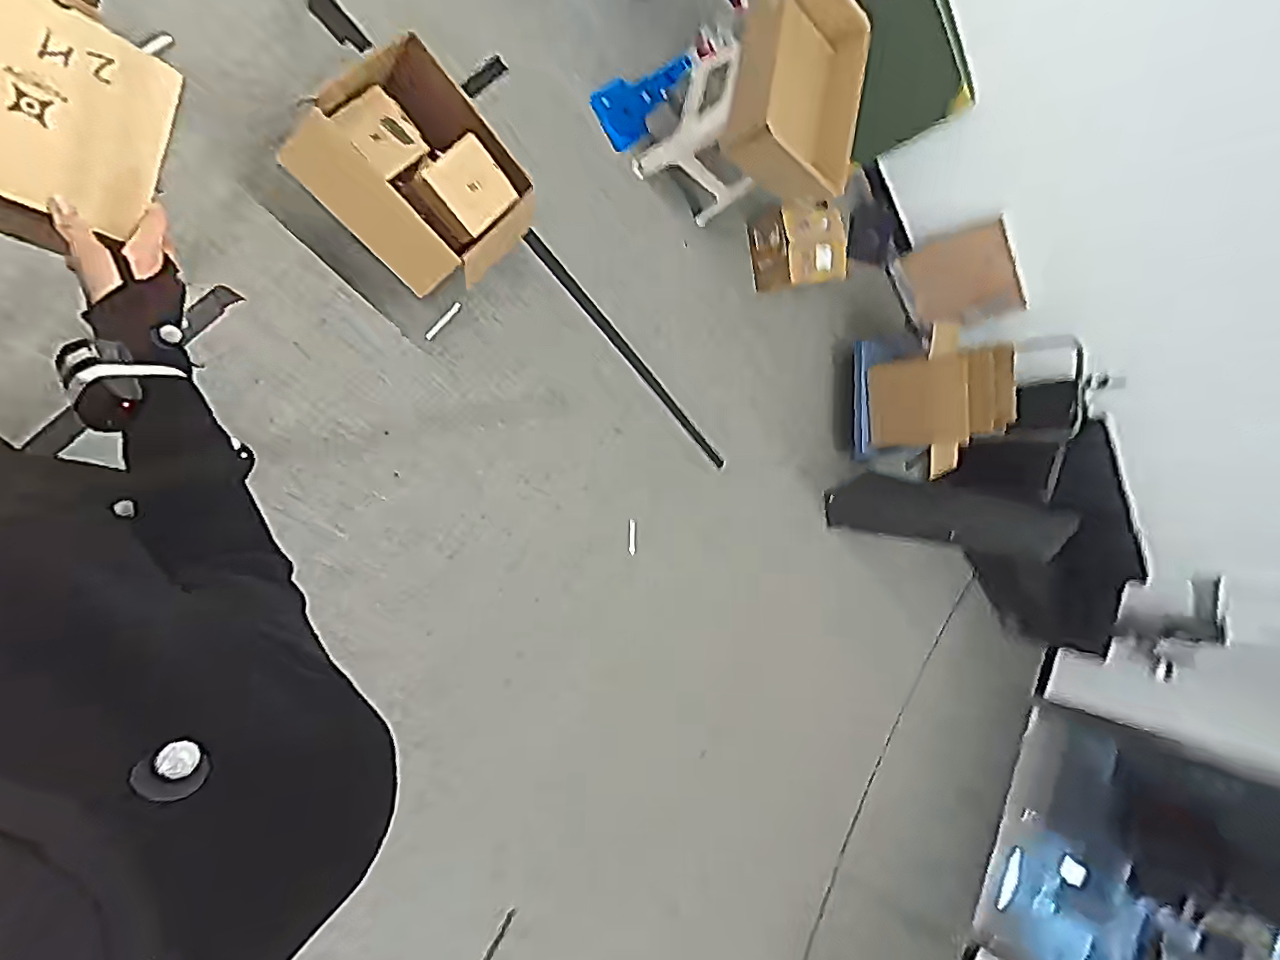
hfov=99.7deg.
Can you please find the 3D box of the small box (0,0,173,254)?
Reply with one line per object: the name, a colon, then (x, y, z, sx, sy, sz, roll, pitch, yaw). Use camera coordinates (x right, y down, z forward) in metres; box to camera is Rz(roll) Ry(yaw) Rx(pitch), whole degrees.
small box: (-0.566, -0.324, 0.482, 0.168, 0.176, 0.179, 16, 84, -57)
